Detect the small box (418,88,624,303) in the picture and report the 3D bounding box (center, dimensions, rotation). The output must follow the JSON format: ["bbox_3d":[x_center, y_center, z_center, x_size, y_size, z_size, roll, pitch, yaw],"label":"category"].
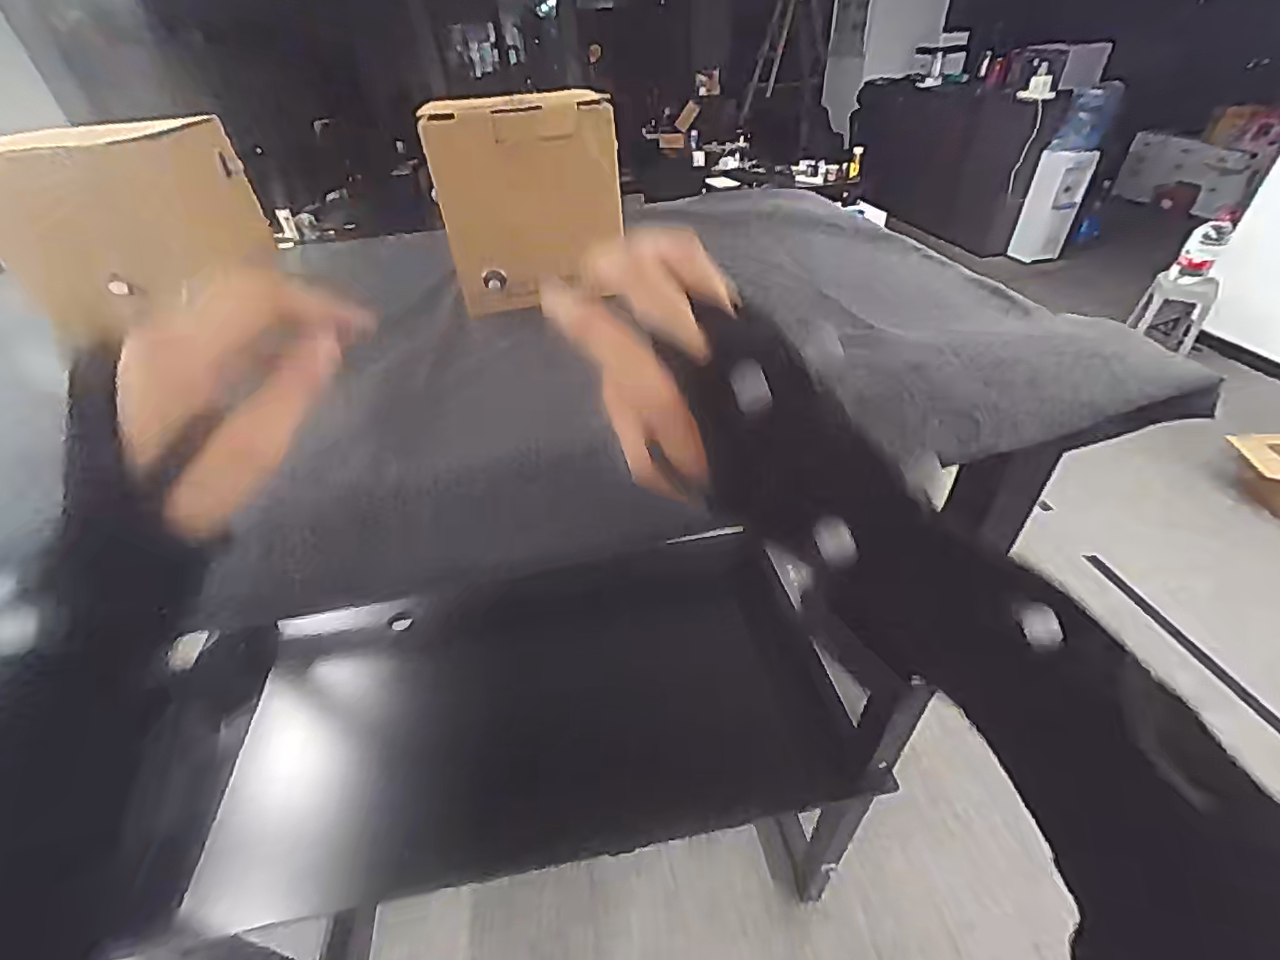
[{"bbox_3d":[-0.115,-0.294,0.566,0.168,0.176,0.179,-10,39,-7],"label":"small box"}]

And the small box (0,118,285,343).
[{"bbox_3d":[-0.505,-0.260,0.559,0.168,0.176,0.179,-11,41,-8],"label":"small box"}]
